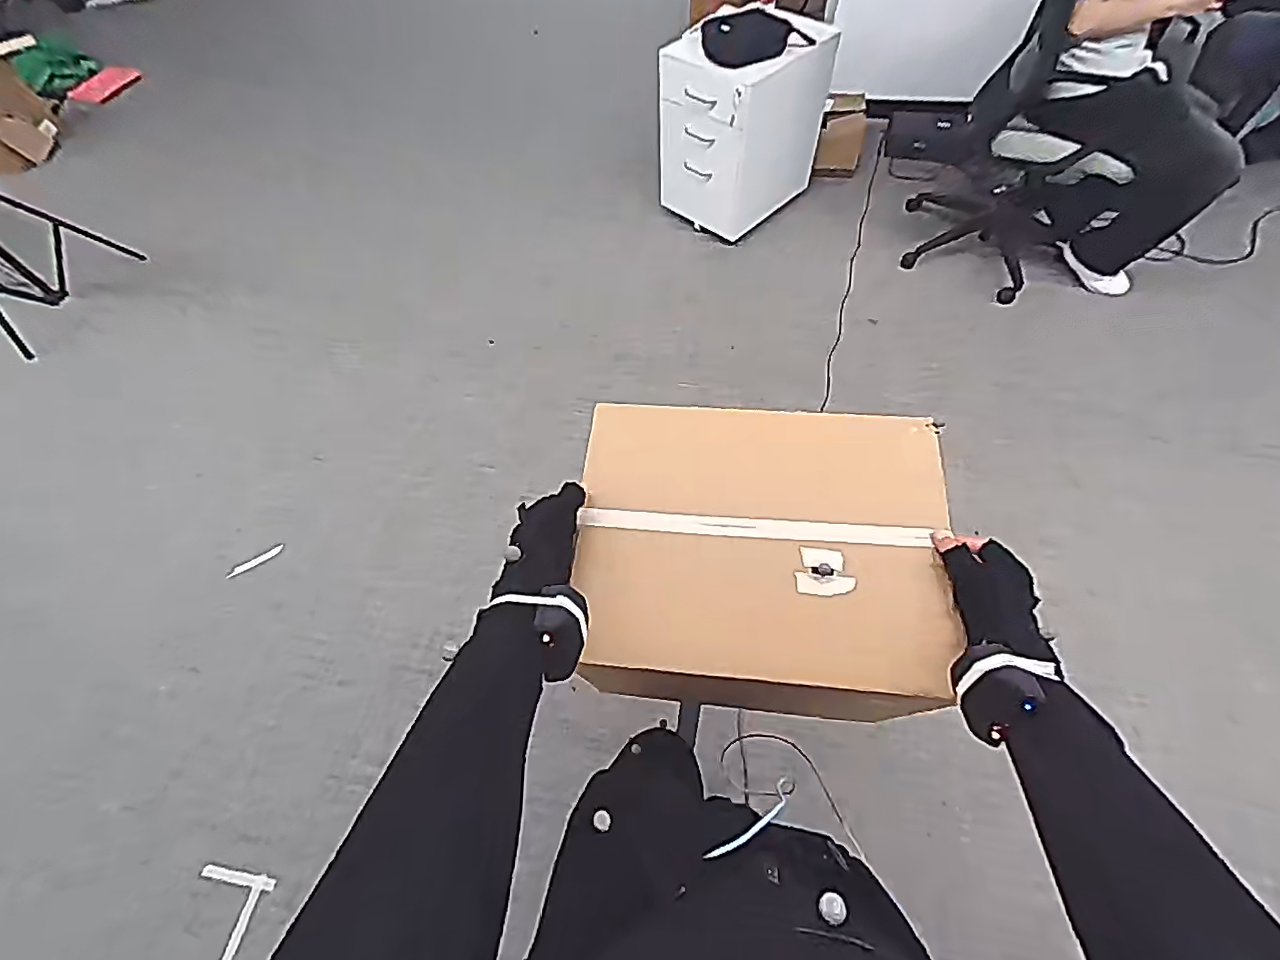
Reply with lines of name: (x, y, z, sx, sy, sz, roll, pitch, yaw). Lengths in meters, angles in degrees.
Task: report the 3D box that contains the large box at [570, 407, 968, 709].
large box: (0.145, 0.119, 0.739, 0.408, 0.320, 0.320, 4, 64, 7)
